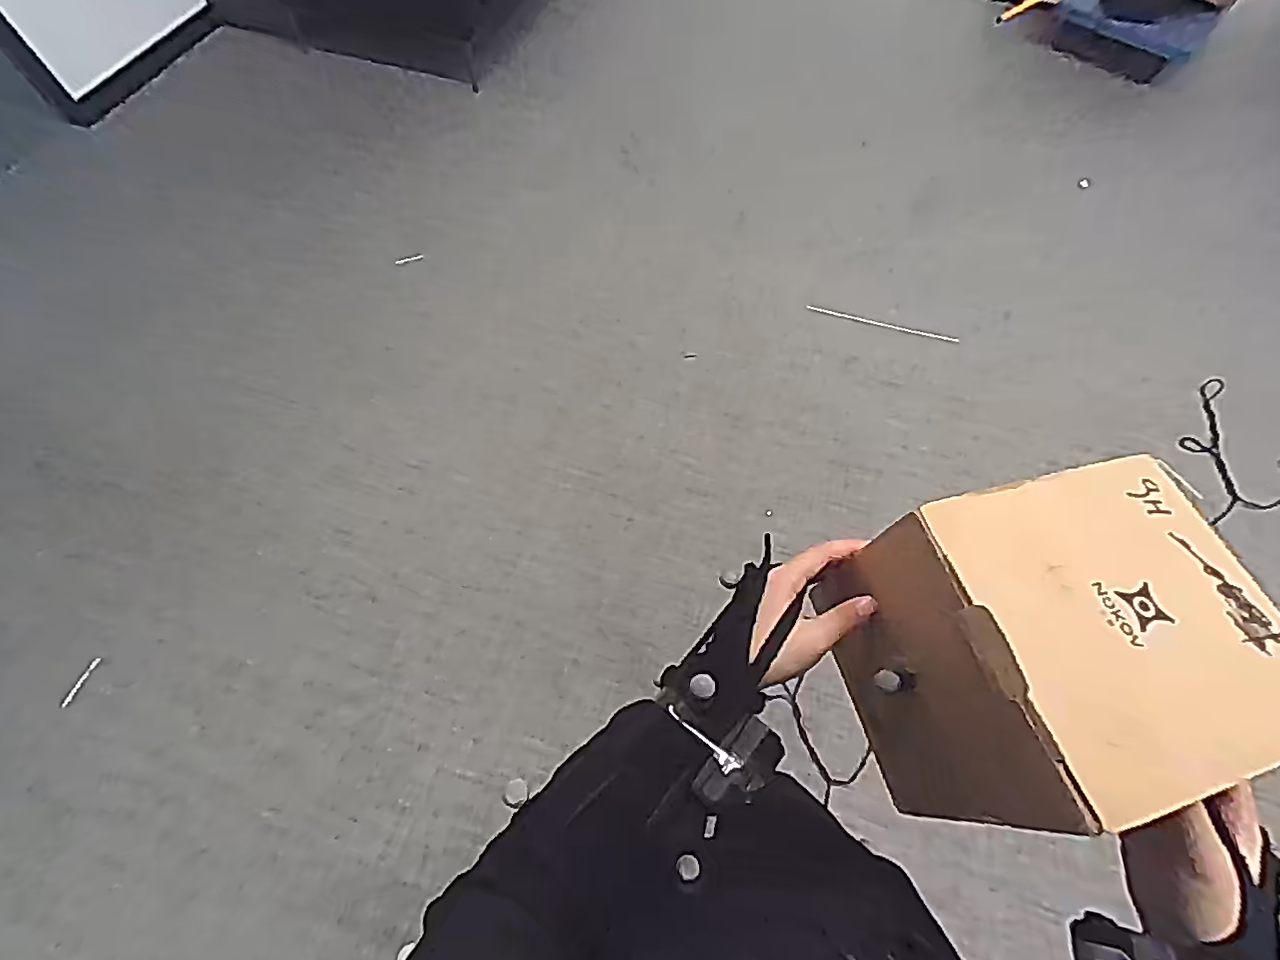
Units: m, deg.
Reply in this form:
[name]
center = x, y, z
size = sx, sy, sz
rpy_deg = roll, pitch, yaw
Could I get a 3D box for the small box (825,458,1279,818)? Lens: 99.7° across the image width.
[small box]
center = 0.248, 0.109, 0.364
size = 0.179, 0.176, 0.168
rpy_deg = -11, 63, -11
